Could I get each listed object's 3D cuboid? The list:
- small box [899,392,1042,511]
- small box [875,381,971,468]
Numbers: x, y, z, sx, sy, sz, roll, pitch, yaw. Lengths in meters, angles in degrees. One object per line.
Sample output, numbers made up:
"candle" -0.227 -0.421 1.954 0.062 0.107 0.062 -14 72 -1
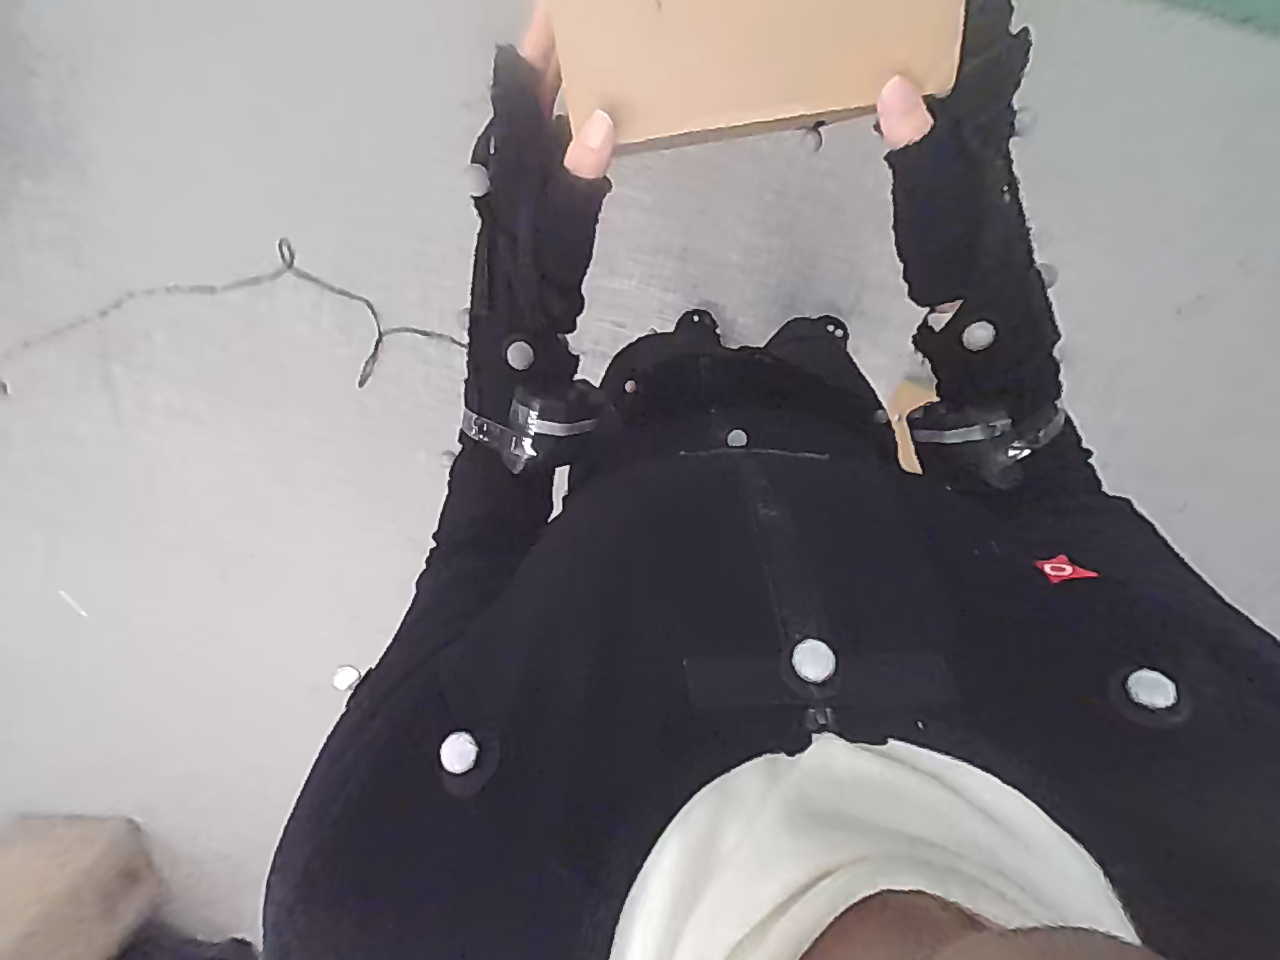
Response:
"small box" 0.674 -0.065 1.133 0.168 0.176 0.179 19 111 -2
"small box" 0.685 -0.119 1.287 0.168 0.176 0.179 15 111 0
